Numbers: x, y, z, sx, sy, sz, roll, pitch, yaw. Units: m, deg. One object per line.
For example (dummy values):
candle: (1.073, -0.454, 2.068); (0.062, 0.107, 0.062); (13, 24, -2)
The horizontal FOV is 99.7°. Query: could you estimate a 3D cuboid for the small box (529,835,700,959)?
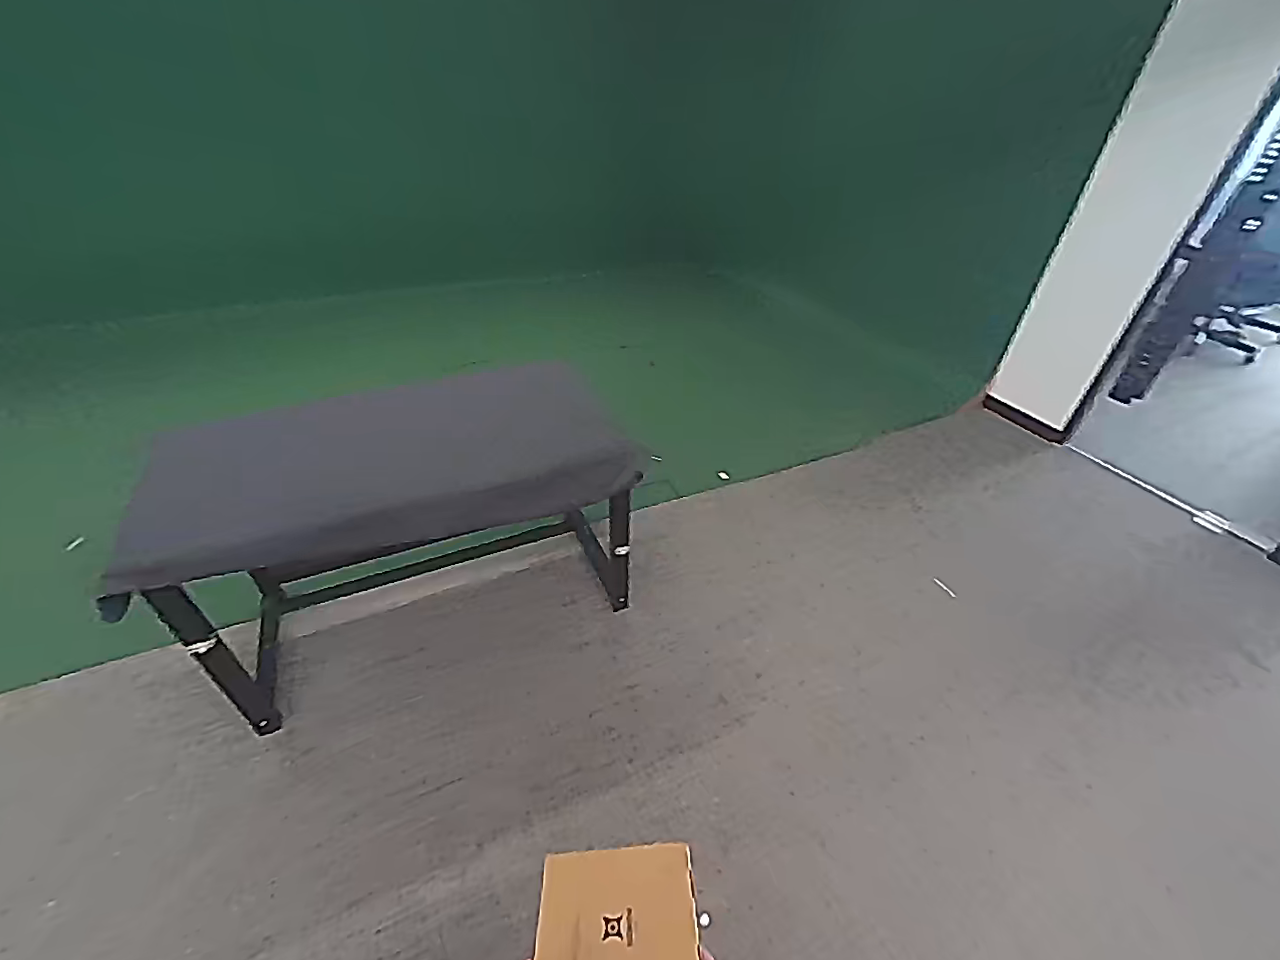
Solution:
small box: (-0.021, 0.540, 0.613); (0.179, 0.176, 0.168); (-5, 24, 2)
